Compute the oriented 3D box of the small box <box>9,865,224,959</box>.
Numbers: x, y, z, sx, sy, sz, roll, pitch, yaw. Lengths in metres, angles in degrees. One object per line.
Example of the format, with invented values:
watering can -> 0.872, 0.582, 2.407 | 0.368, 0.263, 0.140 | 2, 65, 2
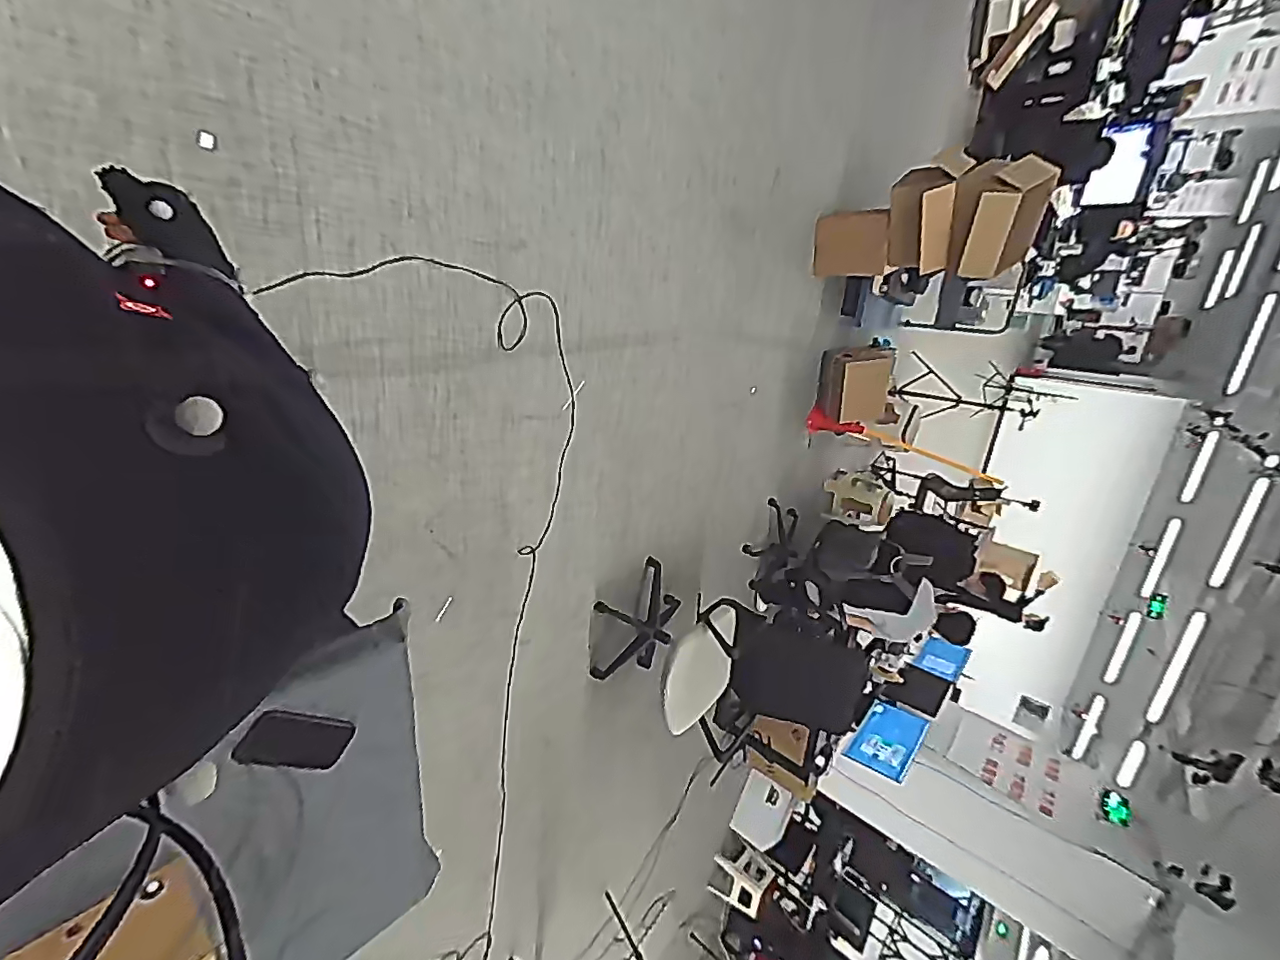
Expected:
small box -> -0.618, 0.620, 0.655 | 0.168, 0.176, 0.179 | -20, 122, -46
